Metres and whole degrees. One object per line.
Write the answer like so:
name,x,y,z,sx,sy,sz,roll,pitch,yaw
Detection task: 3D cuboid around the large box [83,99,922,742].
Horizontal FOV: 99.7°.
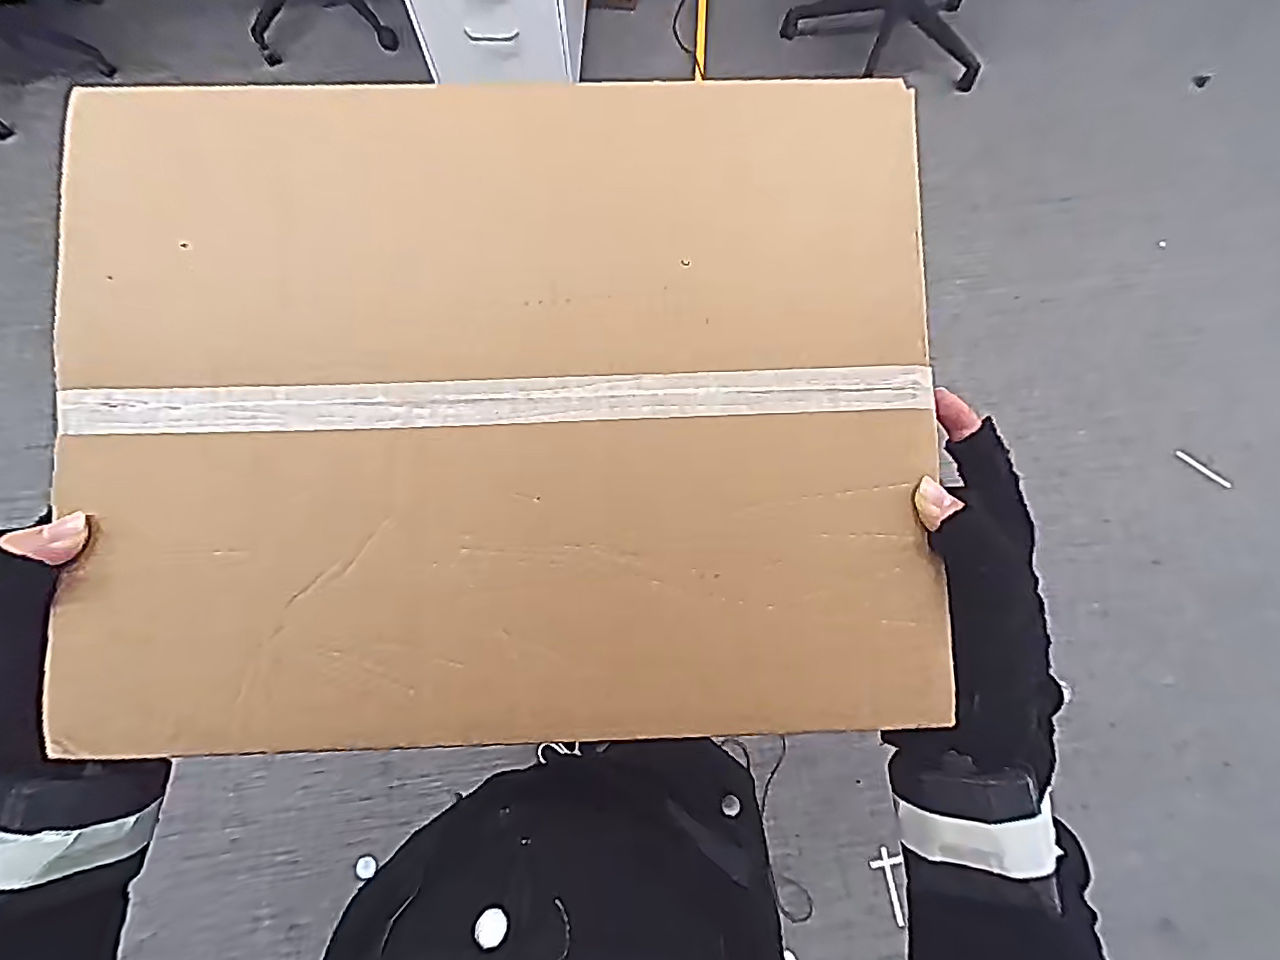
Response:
large box,-0.067,-0.028,0.415,0.408,0.320,0.320,-2,86,-1
